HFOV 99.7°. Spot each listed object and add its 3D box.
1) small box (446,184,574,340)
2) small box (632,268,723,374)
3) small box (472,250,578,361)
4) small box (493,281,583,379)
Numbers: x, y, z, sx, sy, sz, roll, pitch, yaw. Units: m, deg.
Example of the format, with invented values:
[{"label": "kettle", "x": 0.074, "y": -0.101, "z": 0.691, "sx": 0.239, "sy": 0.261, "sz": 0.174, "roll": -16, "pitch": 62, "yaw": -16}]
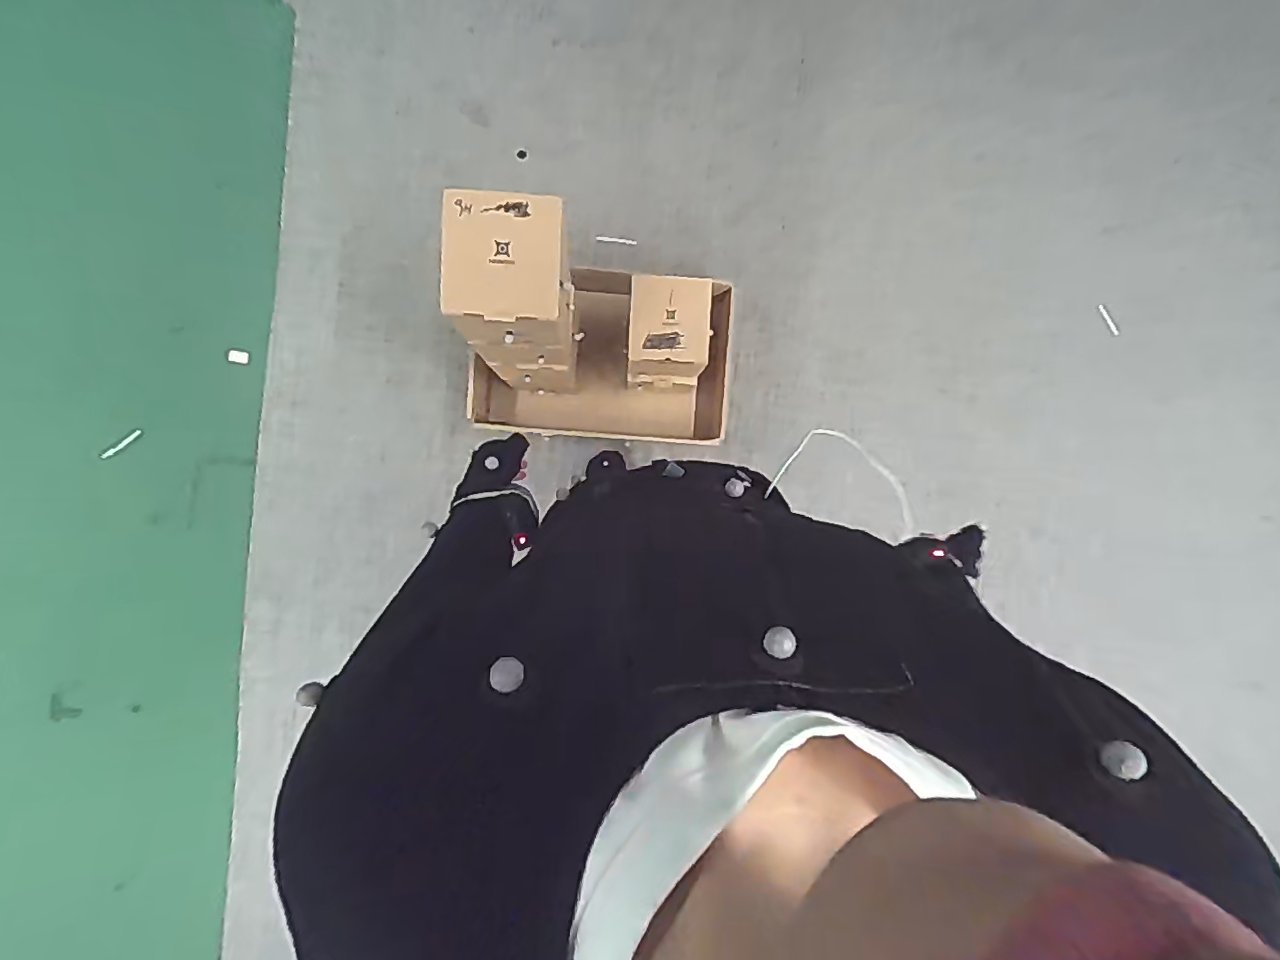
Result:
[{"label": "small box", "x": -0.190, "y": -0.319, "z": 0.829, "sx": 0.168, "sy": 0.176, "sz": 0.179, "roll": 3, "pitch": 93, "yaw": -5}, {"label": "small box", "x": 0.073, "y": -0.332, "z": 1.163, "sx": 0.168, "sy": 0.176, "sz": 0.179, "roll": 6, "pitch": 92, "yaw": -4}, {"label": "small box", "x": -0.202, "y": -0.321, "z": 0.992, "sx": 0.168, "sy": 0.176, "sz": 0.179, "roll": 3, "pitch": 92, "yaw": -5}, {"label": "small box", "x": -0.211, "y": -0.321, "z": 1.156, "sx": 0.168, "sy": 0.176, "sz": 0.179, "roll": 4, "pitch": 92, "yaw": -4}]
